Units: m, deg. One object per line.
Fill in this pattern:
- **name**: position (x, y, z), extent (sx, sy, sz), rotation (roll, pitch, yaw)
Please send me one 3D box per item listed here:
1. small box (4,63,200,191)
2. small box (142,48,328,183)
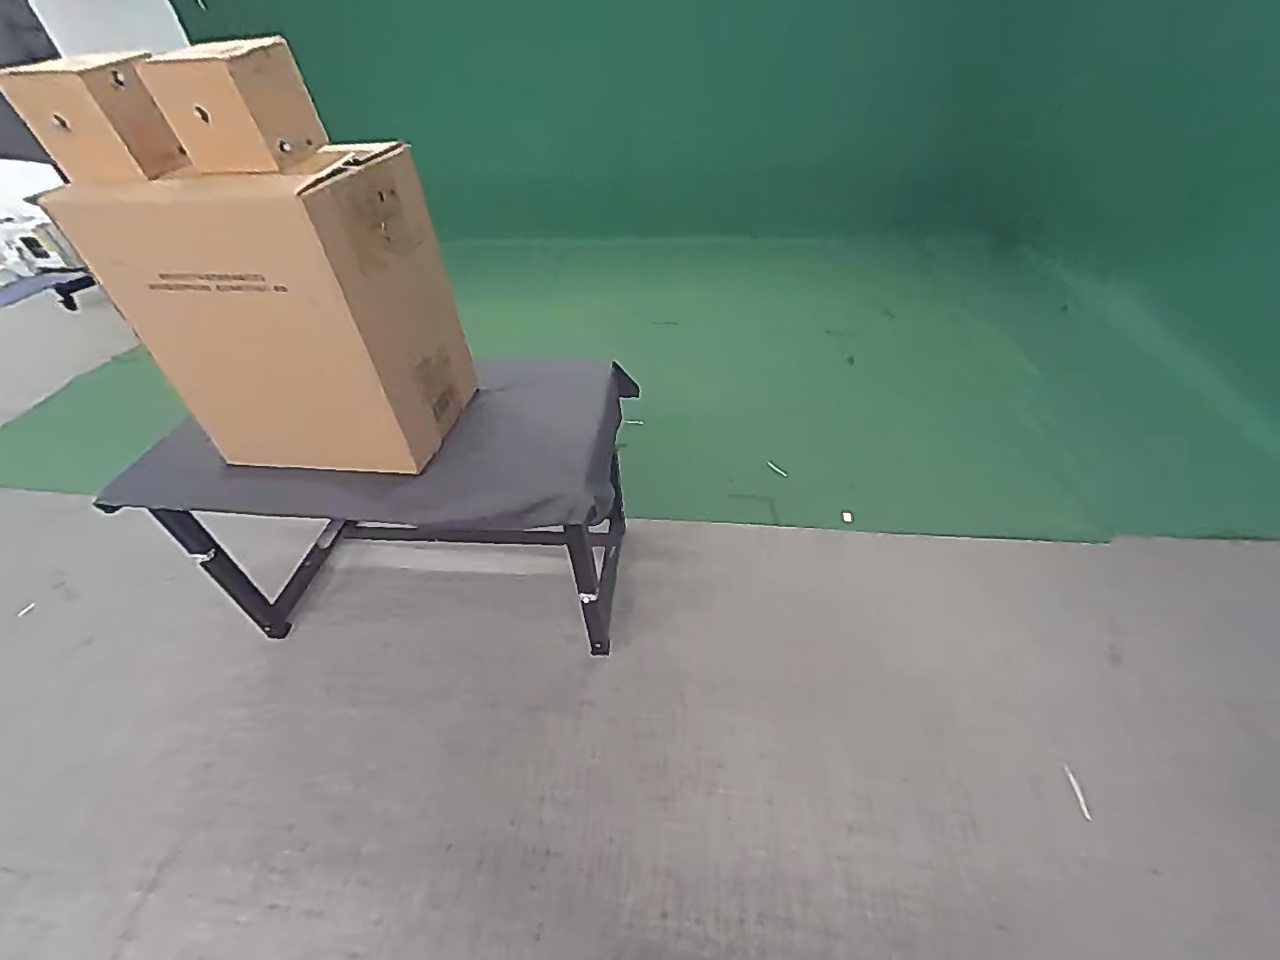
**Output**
- **small box**: position (-0.974, -0.655, 1.010), extent (0.179, 0.176, 0.168), rotation (3, 47, 9)
- **small box**: position (-0.718, -0.660, 0.986), extent (0.179, 0.176, 0.168), rotation (3, 47, 10)
